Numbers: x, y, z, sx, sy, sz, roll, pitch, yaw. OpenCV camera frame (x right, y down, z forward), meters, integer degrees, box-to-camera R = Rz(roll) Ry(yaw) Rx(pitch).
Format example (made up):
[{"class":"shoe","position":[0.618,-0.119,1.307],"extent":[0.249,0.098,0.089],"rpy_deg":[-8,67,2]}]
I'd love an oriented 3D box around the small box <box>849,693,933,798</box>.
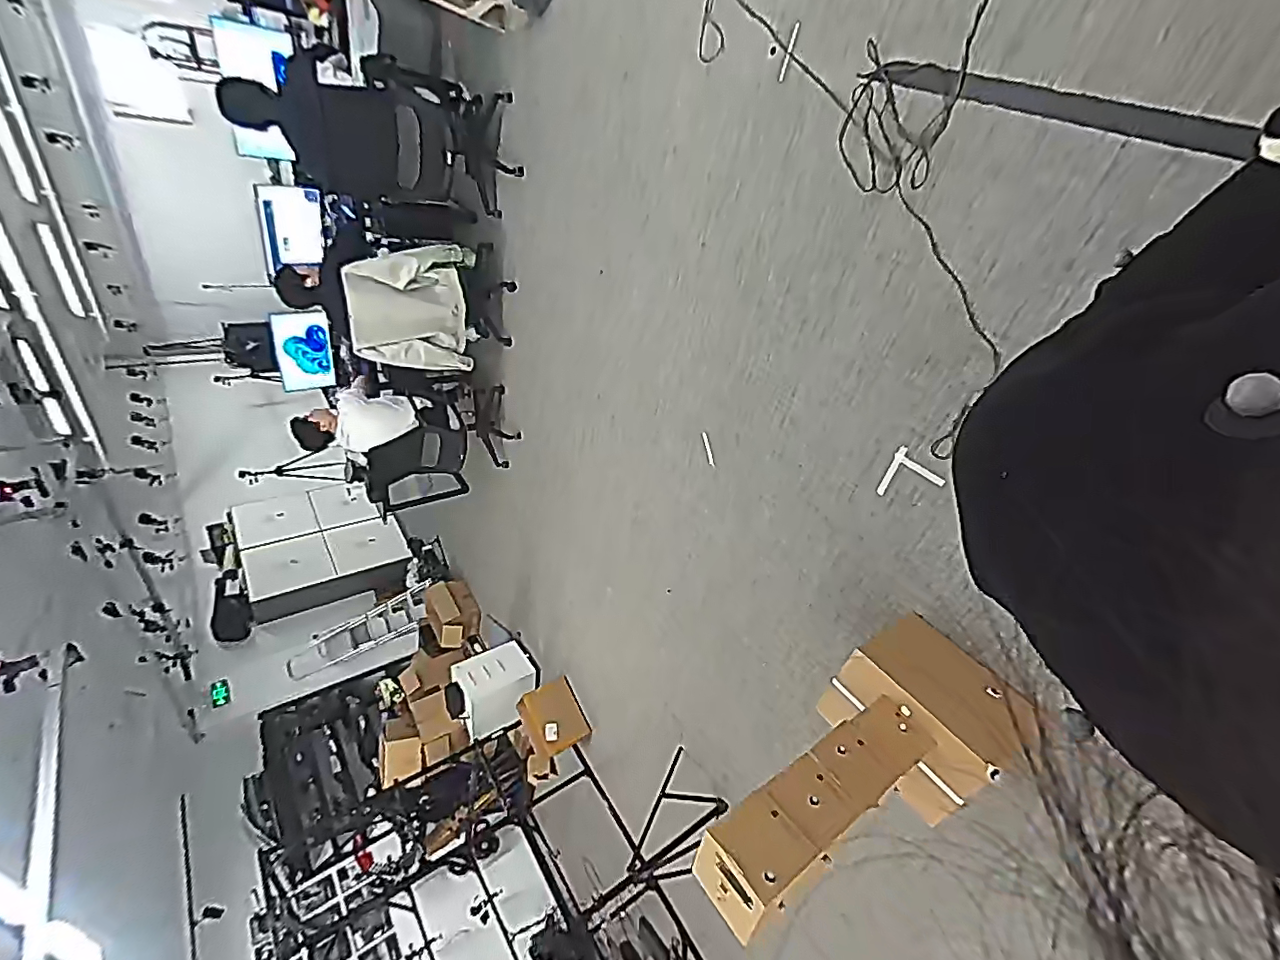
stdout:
[{"class":"small box","position":[0.630,0.702,1.422],"extent":[0.168,0.176,0.179],"rpy_deg":[43,134,37]}]

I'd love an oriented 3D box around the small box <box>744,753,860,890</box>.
[{"class":"small box","position":[0.371,0.770,1.235],"extent":[0.168,0.176,0.179],"rpy_deg":[39,132,42]}]

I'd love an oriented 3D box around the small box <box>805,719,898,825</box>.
[{"class":"small box","position":[0.500,0.730,1.329],"extent":[0.168,0.176,0.179],"rpy_deg":[43,135,39]}]
